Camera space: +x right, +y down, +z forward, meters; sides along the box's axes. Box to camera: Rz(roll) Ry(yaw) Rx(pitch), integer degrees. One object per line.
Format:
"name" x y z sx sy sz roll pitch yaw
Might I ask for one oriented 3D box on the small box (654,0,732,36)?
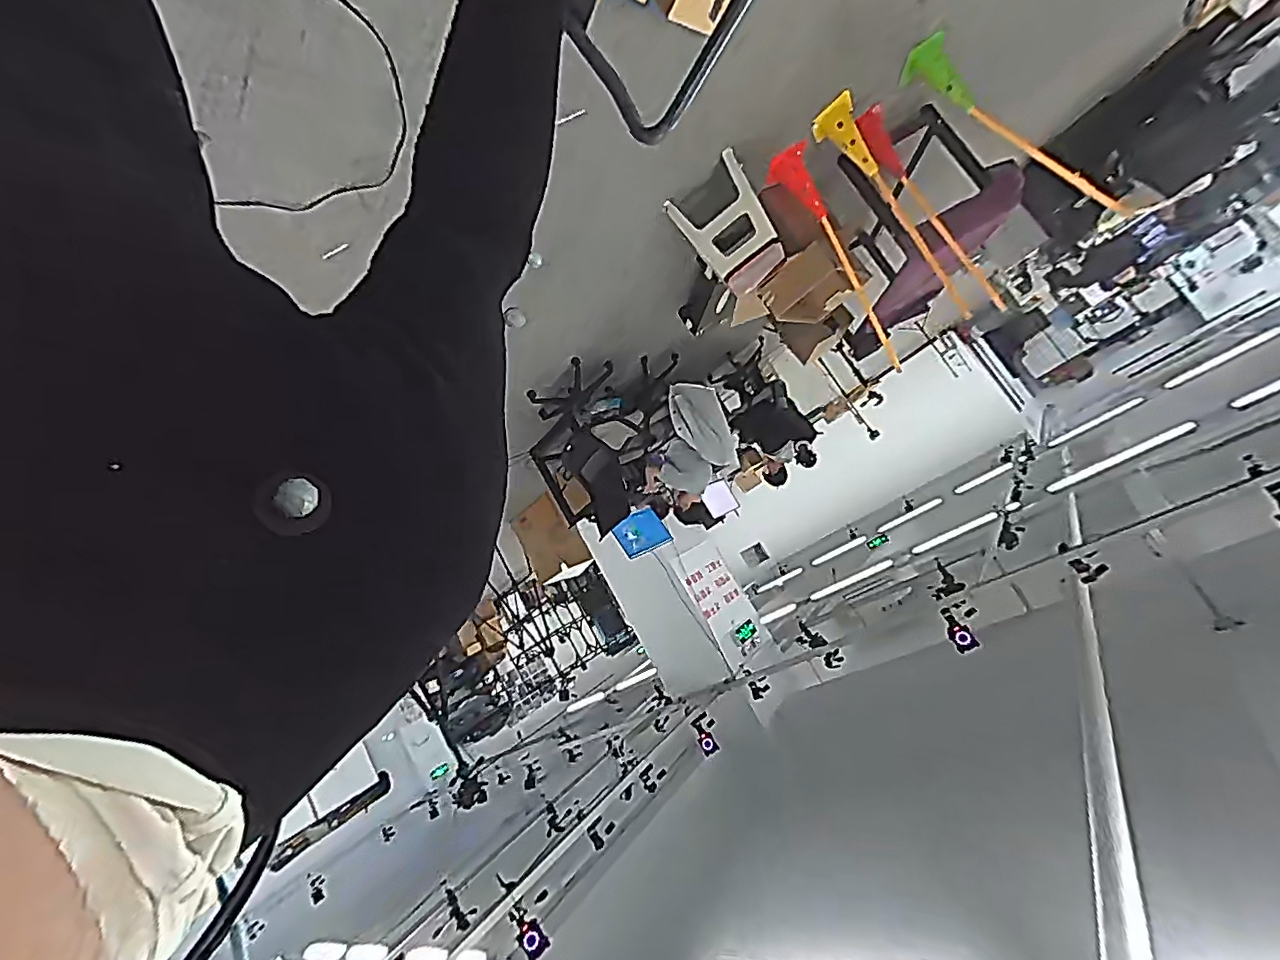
"small box" 0.123 -1.218 1.286 0.179 0.176 0.168 -20 164 -40
